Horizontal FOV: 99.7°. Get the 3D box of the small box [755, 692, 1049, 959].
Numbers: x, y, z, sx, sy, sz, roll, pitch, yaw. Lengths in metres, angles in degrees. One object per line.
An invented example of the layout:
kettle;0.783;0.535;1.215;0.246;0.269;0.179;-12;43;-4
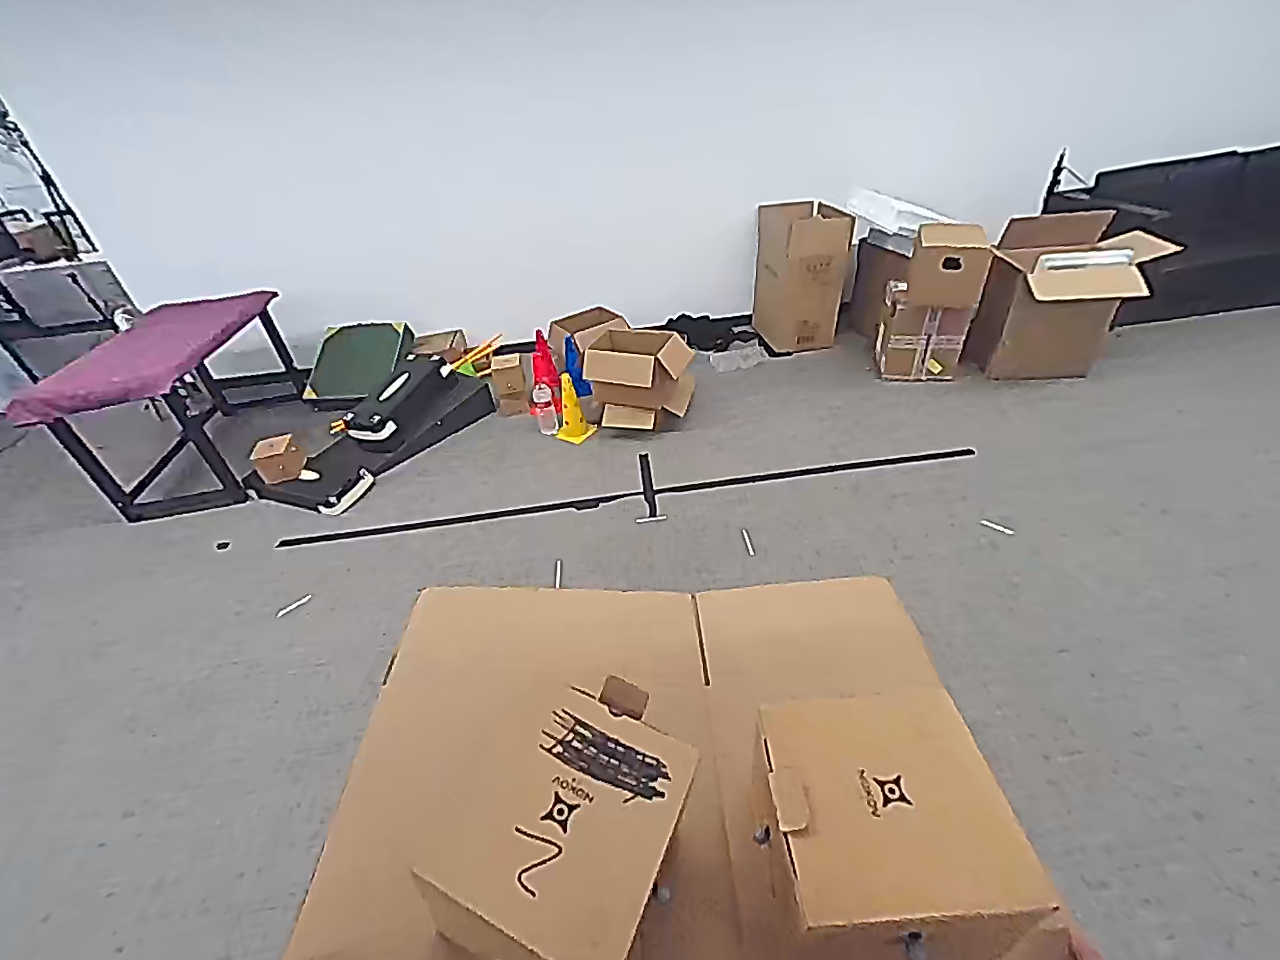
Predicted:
small box;0.209;0.319;0.495;0.179;0.176;0.168;-6;38;2
